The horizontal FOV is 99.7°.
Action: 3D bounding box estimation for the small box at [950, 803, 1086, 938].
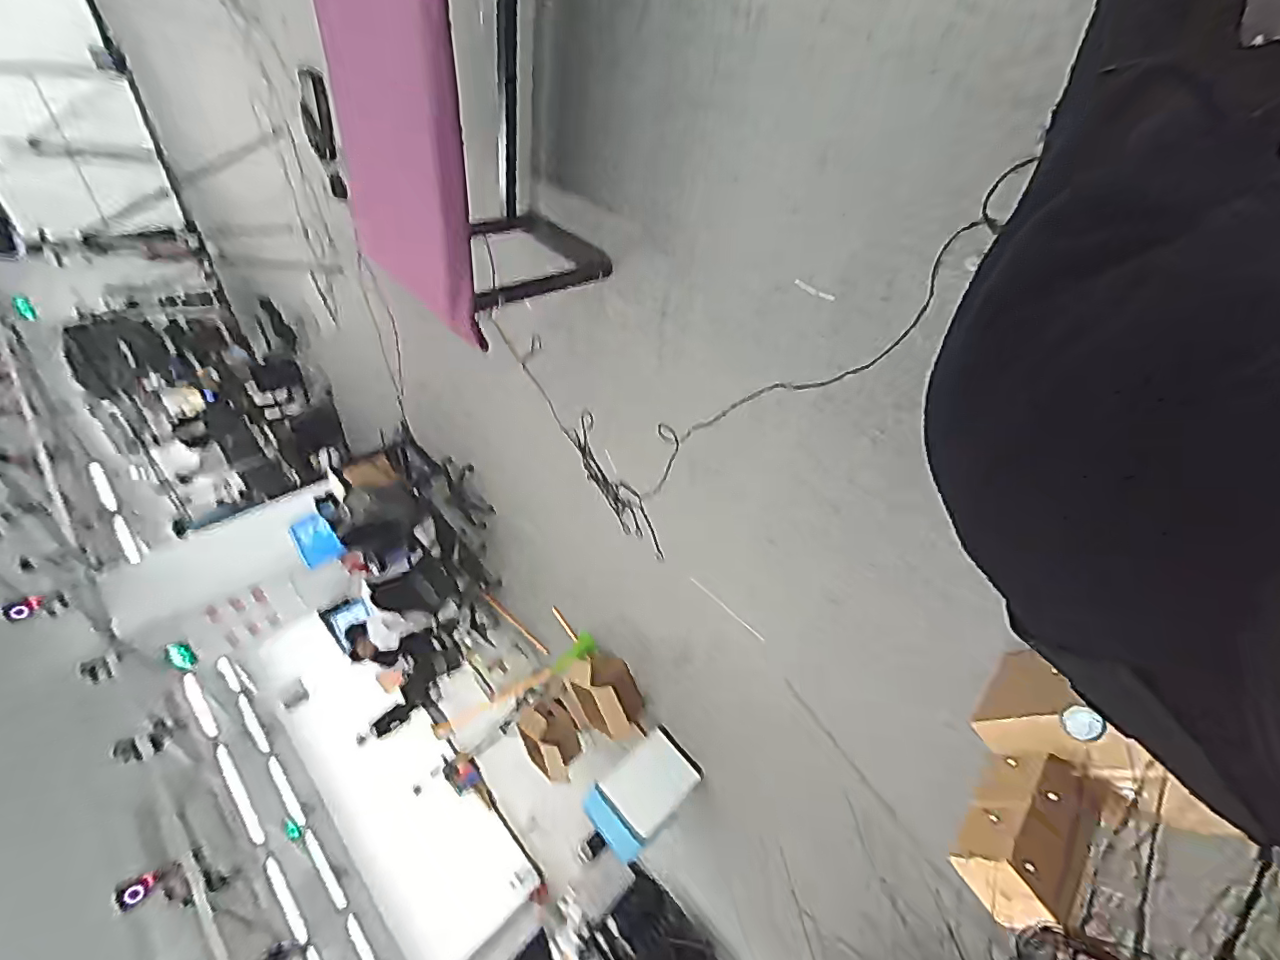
[{"bbox_3d":[0.867,0.881,1.238,0.179,0.176,0.168,52,144,12],"label":"small box"}]
